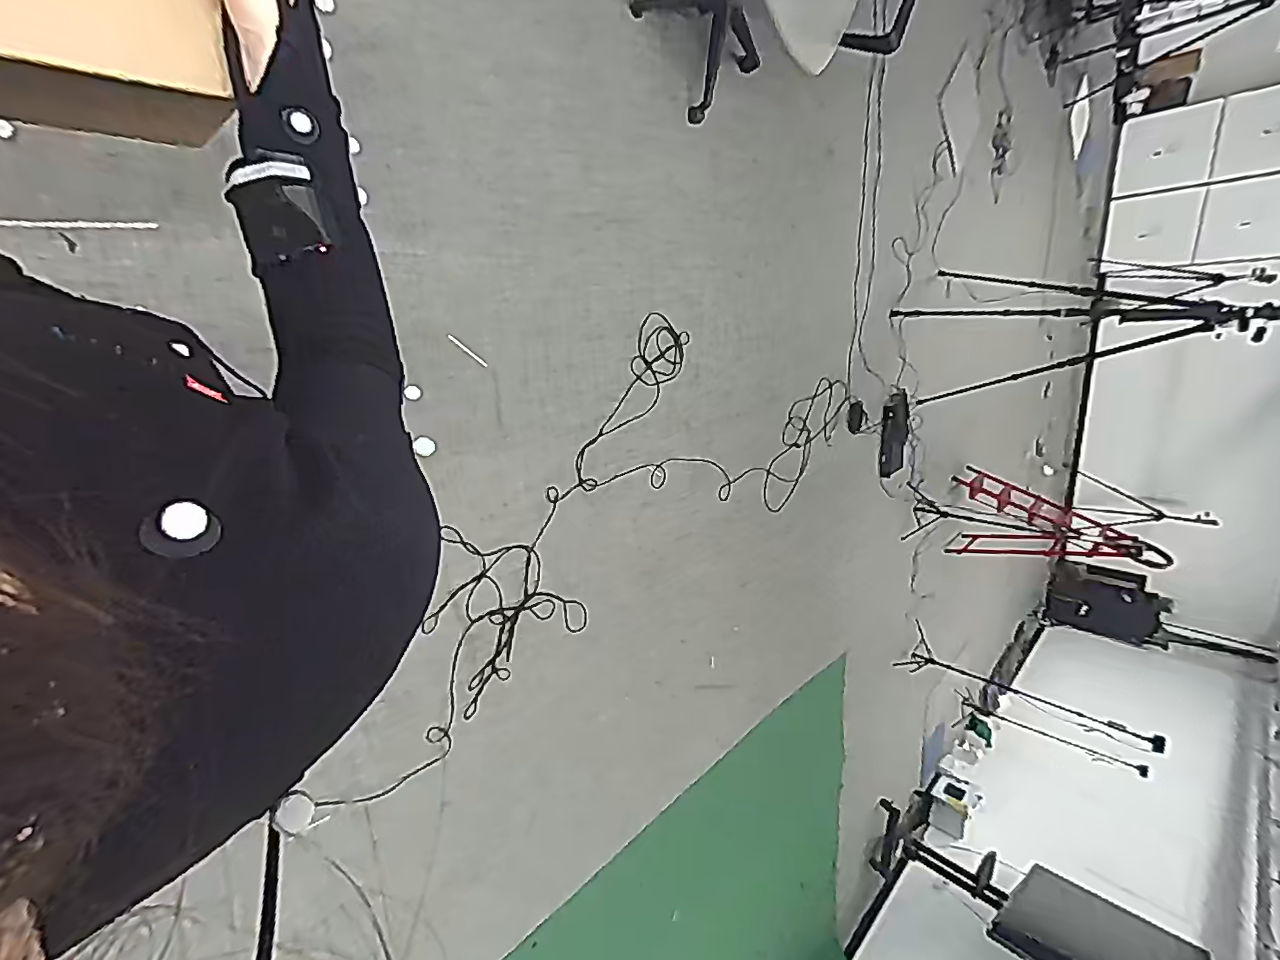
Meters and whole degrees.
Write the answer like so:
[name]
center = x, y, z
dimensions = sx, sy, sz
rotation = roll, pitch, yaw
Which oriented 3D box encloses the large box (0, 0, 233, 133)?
[large box]
center = -0.533, -0.426, 0.320
dimensions = 0.408, 0.320, 0.320
rotation = -15, 118, -37
